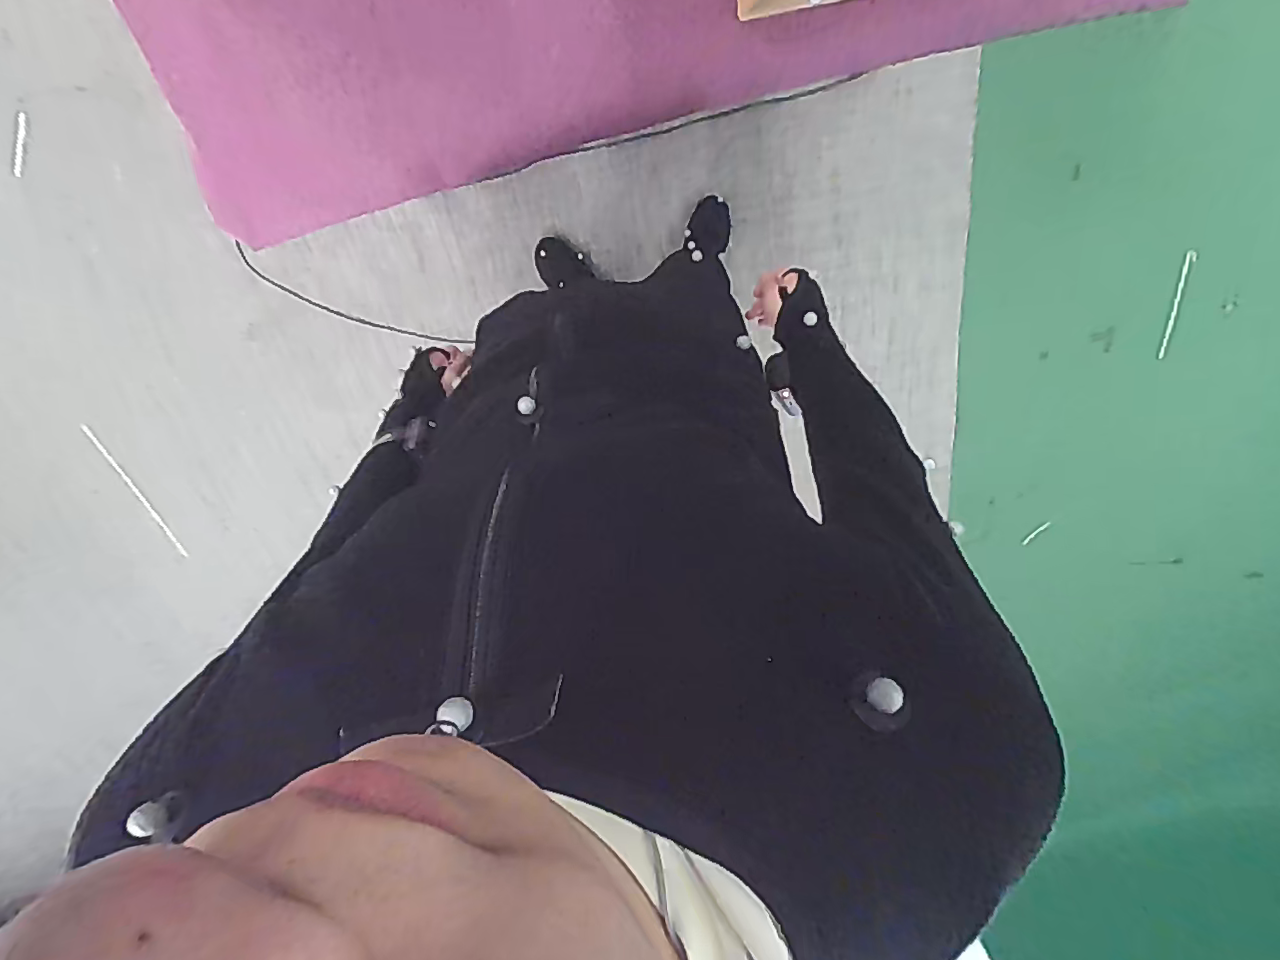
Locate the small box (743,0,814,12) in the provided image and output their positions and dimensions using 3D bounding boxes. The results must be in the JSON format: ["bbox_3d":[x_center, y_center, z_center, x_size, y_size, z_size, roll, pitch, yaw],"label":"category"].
[{"bbox_3d":[0.185,-0.596,0.527,0.168,0.176,0.179,-11,117,1],"label":"small box"}]
